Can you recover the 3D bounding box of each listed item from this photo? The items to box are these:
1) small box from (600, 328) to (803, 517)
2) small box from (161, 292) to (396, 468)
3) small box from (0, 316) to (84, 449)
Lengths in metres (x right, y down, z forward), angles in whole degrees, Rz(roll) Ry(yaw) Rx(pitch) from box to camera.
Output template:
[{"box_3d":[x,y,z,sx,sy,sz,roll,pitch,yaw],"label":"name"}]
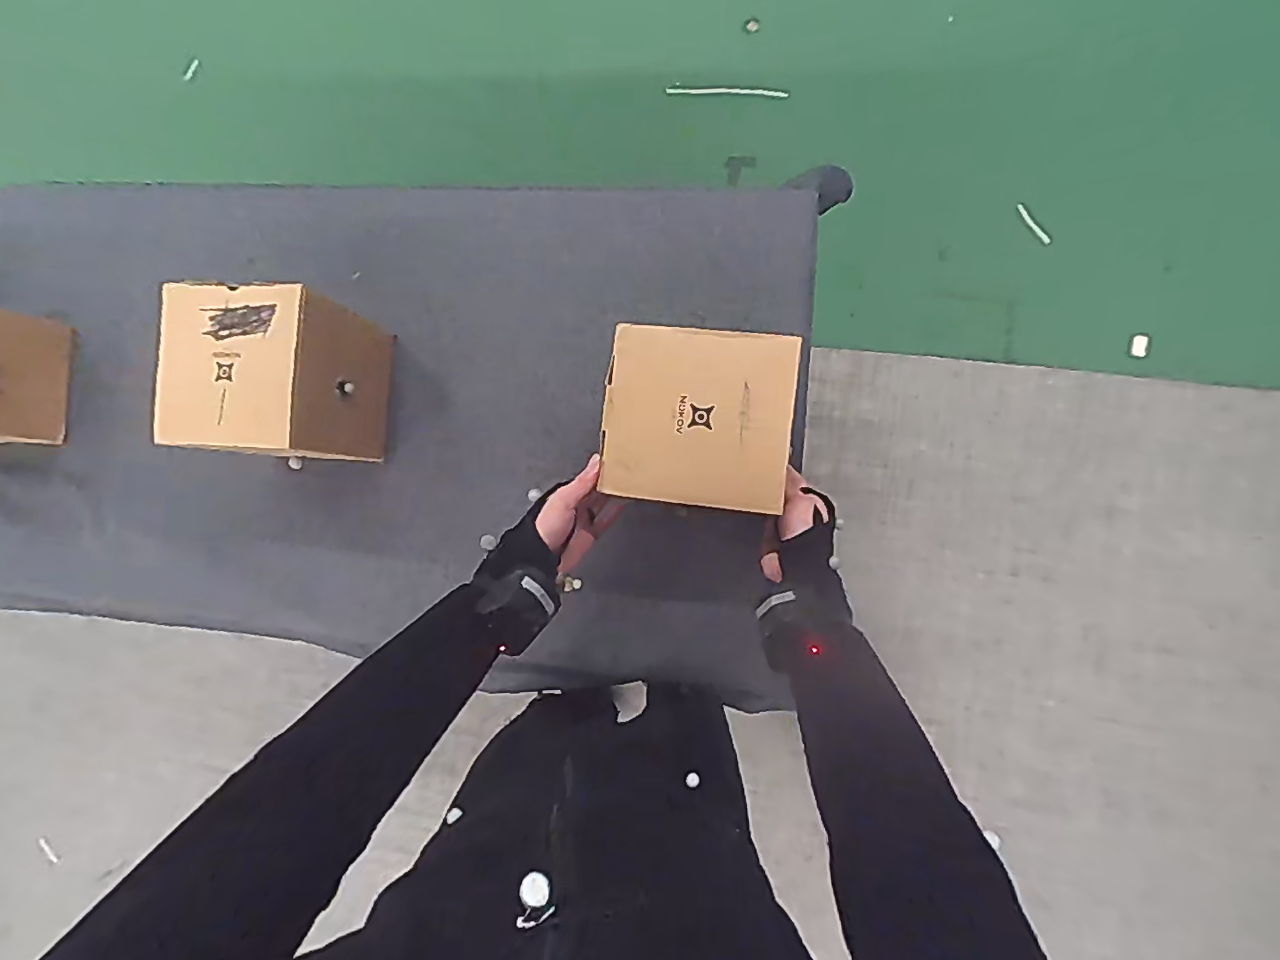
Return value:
[{"box_3d":[0.066,-0.053,0.581,0.179,0.176,0.168,6,89,7],"label":"small box"},{"box_3d":[-0.420,-0.111,0.655,0.168,0.176,0.179,3,88,9],"label":"small box"},{"box_3d":[-0.913,-0.134,0.730,0.168,0.176,0.179,1,88,8],"label":"small box"}]
